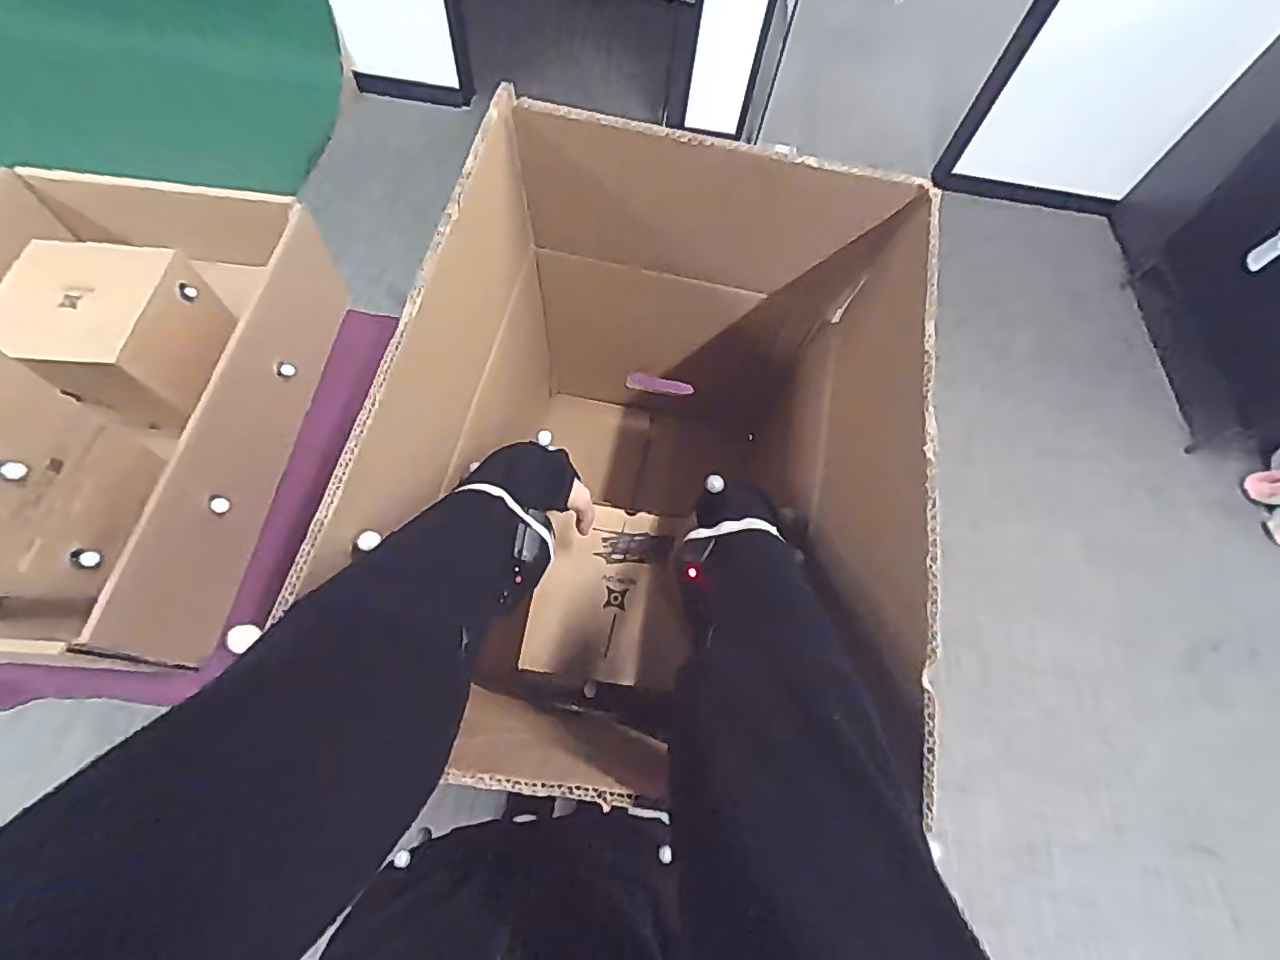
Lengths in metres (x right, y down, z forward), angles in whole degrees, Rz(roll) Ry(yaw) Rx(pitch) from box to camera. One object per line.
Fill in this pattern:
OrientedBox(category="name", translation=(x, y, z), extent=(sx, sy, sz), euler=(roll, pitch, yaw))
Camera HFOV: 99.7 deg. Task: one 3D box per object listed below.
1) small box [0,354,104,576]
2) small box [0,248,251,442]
OrientedBox(category="small box", translation=(-0.616, -0.025, 0.430), extent=(0.179, 0.176, 0.168), euler=(5, 63, -2))
OrientedBox(category="small box", translation=(-0.643, -0.163, 0.686), extent=(0.168, 0.176, 0.179), euler=(2, 63, -3))
